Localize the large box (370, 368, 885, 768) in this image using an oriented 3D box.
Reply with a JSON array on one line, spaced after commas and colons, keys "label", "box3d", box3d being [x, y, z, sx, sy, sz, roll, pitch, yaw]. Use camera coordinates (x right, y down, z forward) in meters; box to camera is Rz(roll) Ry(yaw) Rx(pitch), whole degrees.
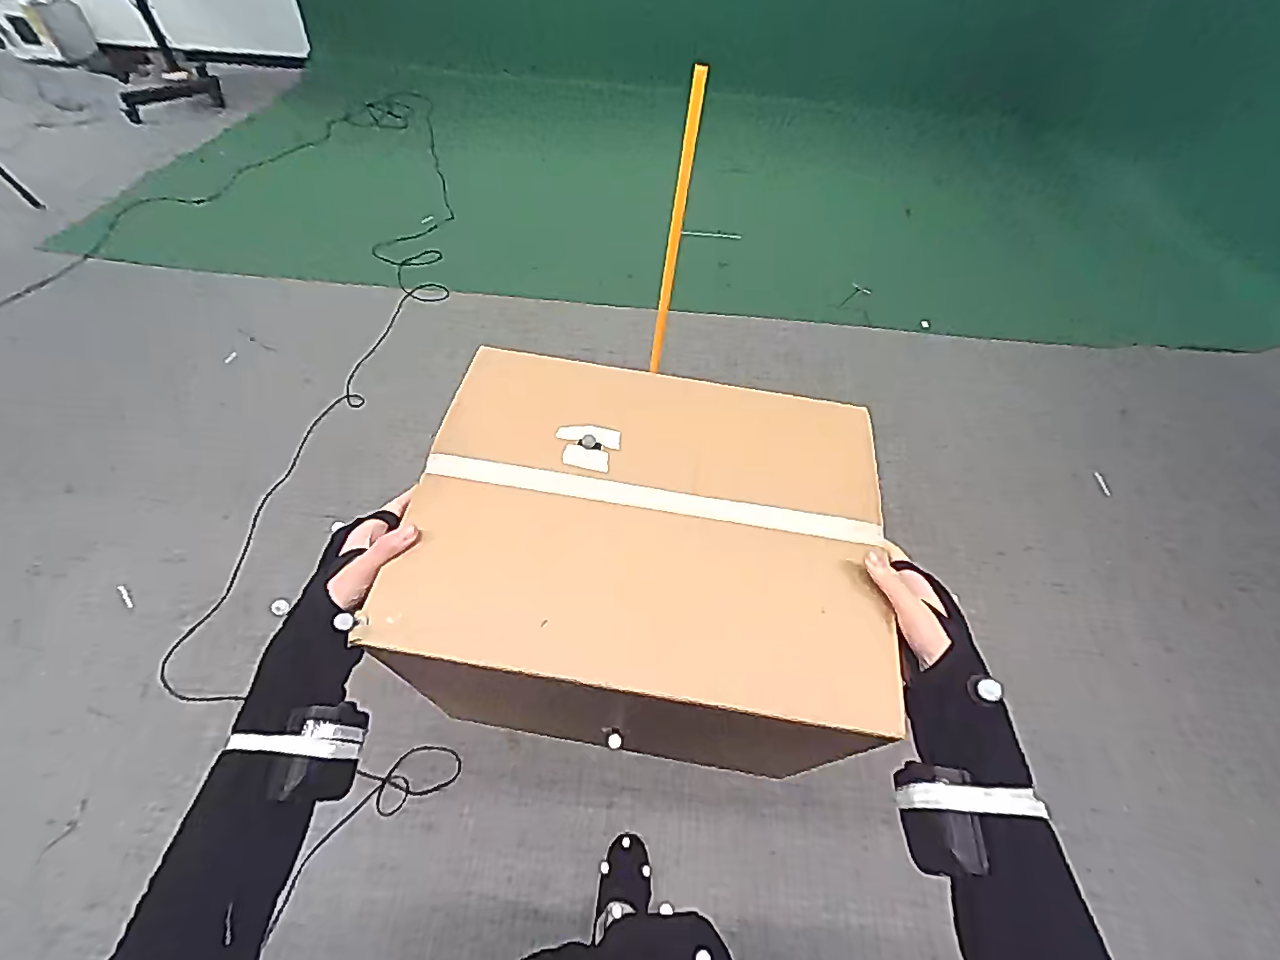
[{"label": "large box", "box3d": [0.003, 0.116, 0.612, 0.408, 0.320, 0.320, 10, 56, 3]}]
